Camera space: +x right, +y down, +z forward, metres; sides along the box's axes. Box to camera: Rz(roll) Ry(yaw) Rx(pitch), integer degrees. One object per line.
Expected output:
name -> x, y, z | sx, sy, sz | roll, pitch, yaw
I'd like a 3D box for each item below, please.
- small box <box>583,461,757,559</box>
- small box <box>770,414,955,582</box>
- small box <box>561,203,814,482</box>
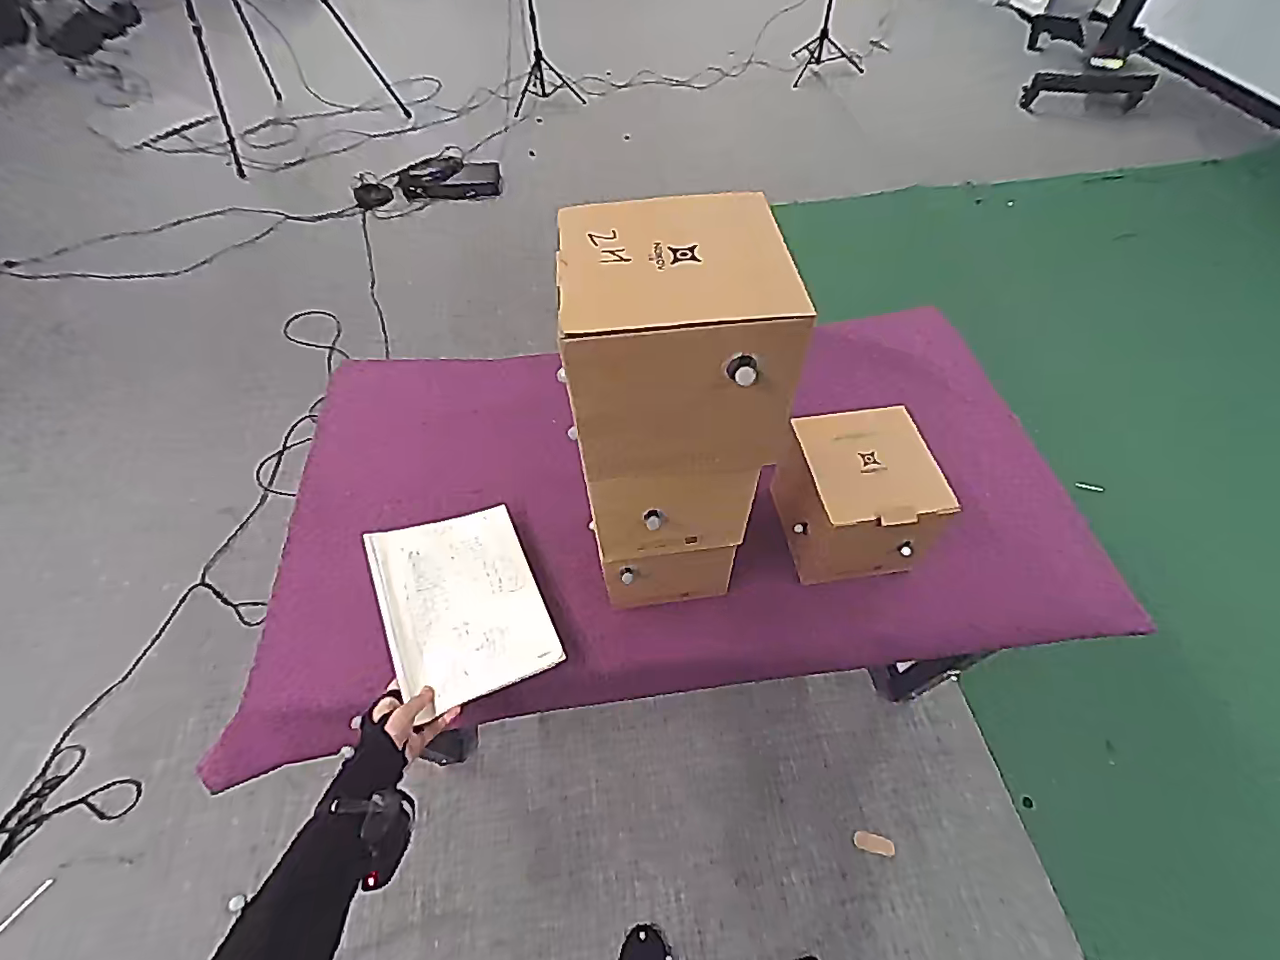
small box -> 0.025, -0.022, 0.612 | 0.168, 0.176, 0.179 | -7, 54, -3
small box -> 0.296, 0.033, 0.764 | 0.168, 0.176, 0.179 | -6, 54, -3
small box -> 0.029, -0.114, 0.474 | 0.179, 0.176, 0.168 | -5, 54, -1
